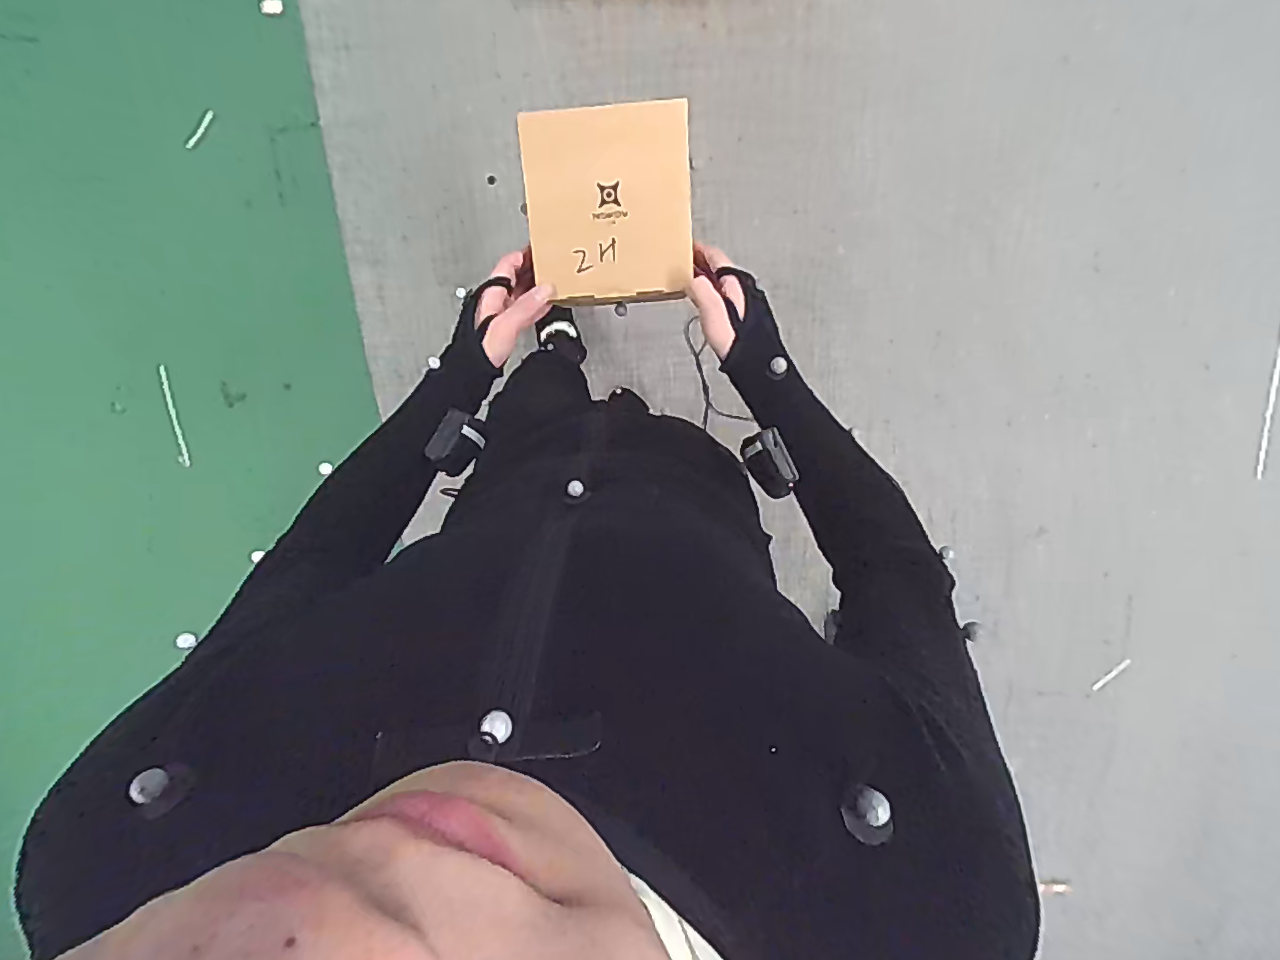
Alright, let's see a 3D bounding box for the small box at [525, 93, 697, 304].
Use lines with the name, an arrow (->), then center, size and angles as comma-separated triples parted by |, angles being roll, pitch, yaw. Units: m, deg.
small box -> -0.025, -0.298, 0.607 | 0.168, 0.176, 0.179 | -2, 105, 2
